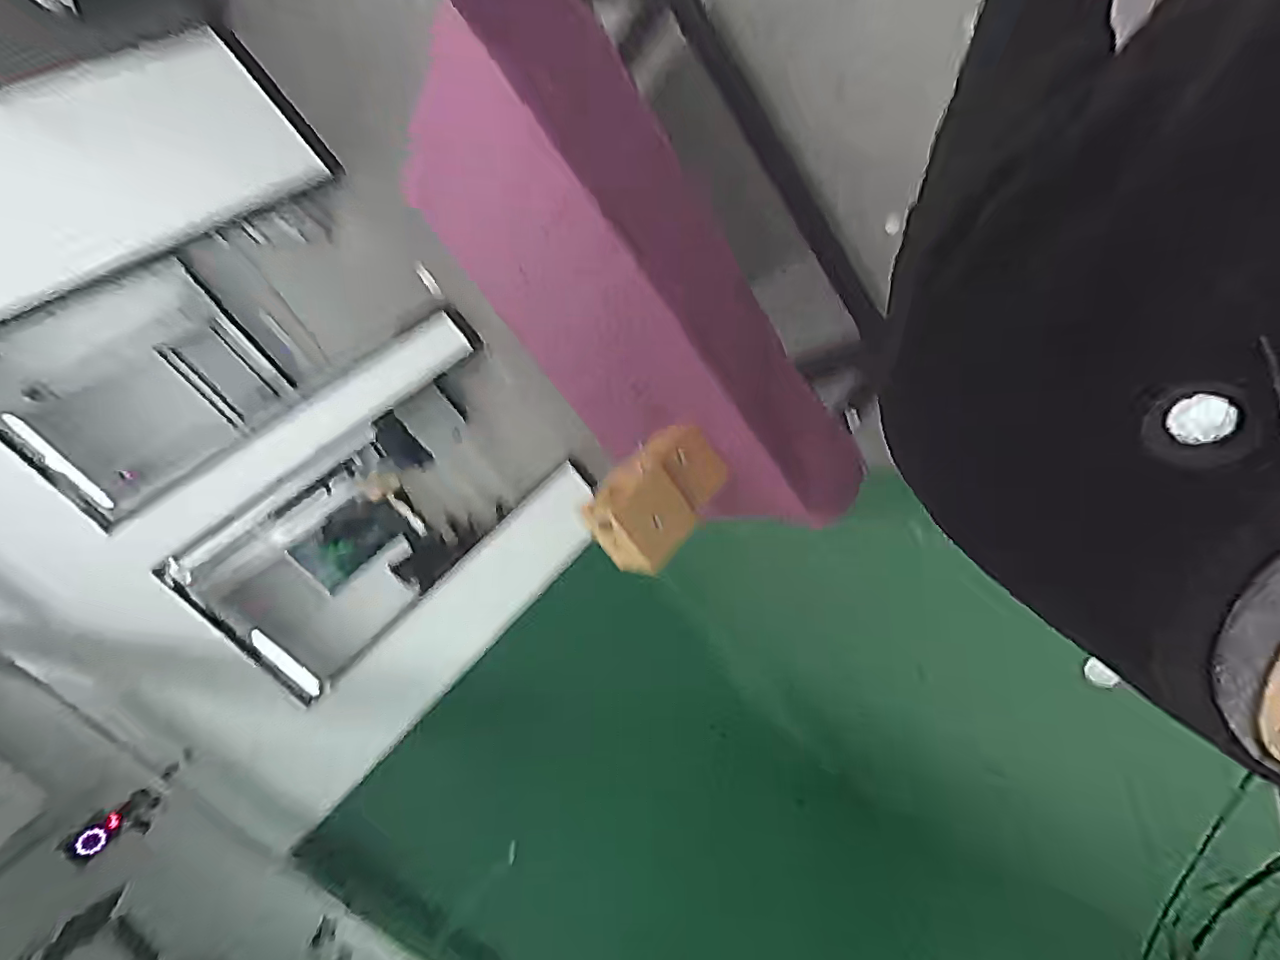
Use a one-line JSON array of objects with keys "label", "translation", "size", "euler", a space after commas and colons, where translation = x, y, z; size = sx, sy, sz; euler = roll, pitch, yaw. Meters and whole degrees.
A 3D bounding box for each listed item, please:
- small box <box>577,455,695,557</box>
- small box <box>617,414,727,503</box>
[{"label": "small box", "translation": [-0.008, 0.054, 1.256], "size": [0.179, 0.176, 0.168], "euler": [52, 153, -20]}, {"label": "small box", "translation": [0.081, -0.047, 1.353], "size": [0.179, 0.176, 0.168], "euler": [50, 153, -15]}]
